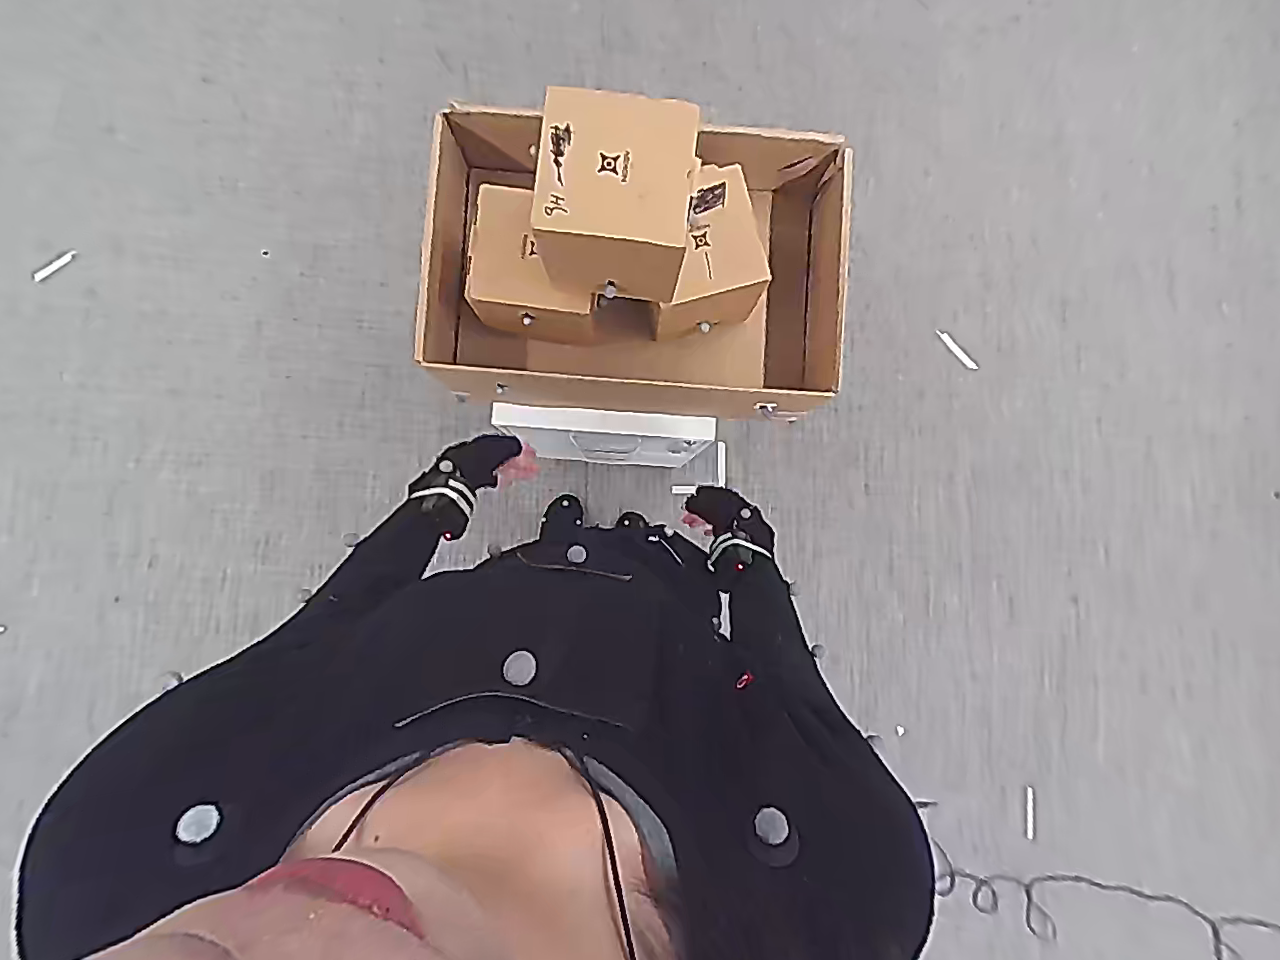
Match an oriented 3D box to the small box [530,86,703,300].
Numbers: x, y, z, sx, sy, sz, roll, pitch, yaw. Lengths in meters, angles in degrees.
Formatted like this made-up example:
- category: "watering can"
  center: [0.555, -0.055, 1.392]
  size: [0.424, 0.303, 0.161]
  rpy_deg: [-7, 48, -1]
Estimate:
- category: "small box"
  center: [-0.029, -0.340, 0.676]
  size: [0.179, 0.176, 0.168]
  rpy_deg: [7, 87, -3]
